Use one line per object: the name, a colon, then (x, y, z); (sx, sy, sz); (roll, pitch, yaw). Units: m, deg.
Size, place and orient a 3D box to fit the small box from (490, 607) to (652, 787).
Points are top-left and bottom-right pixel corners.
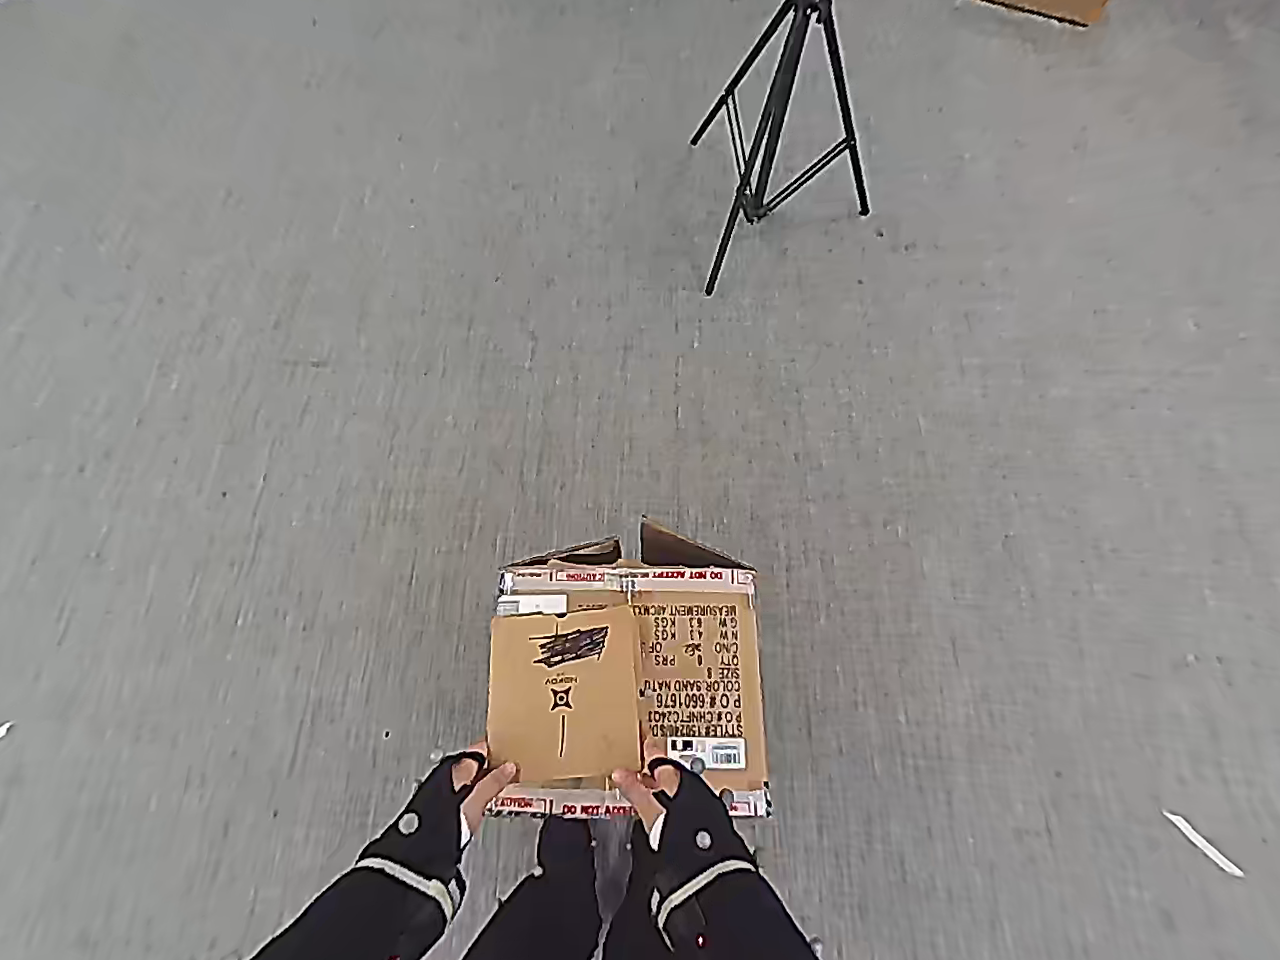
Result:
small box: (-0.077, 0.269, 0.666); (0.168, 0.176, 0.179); (-7, 64, 1)
